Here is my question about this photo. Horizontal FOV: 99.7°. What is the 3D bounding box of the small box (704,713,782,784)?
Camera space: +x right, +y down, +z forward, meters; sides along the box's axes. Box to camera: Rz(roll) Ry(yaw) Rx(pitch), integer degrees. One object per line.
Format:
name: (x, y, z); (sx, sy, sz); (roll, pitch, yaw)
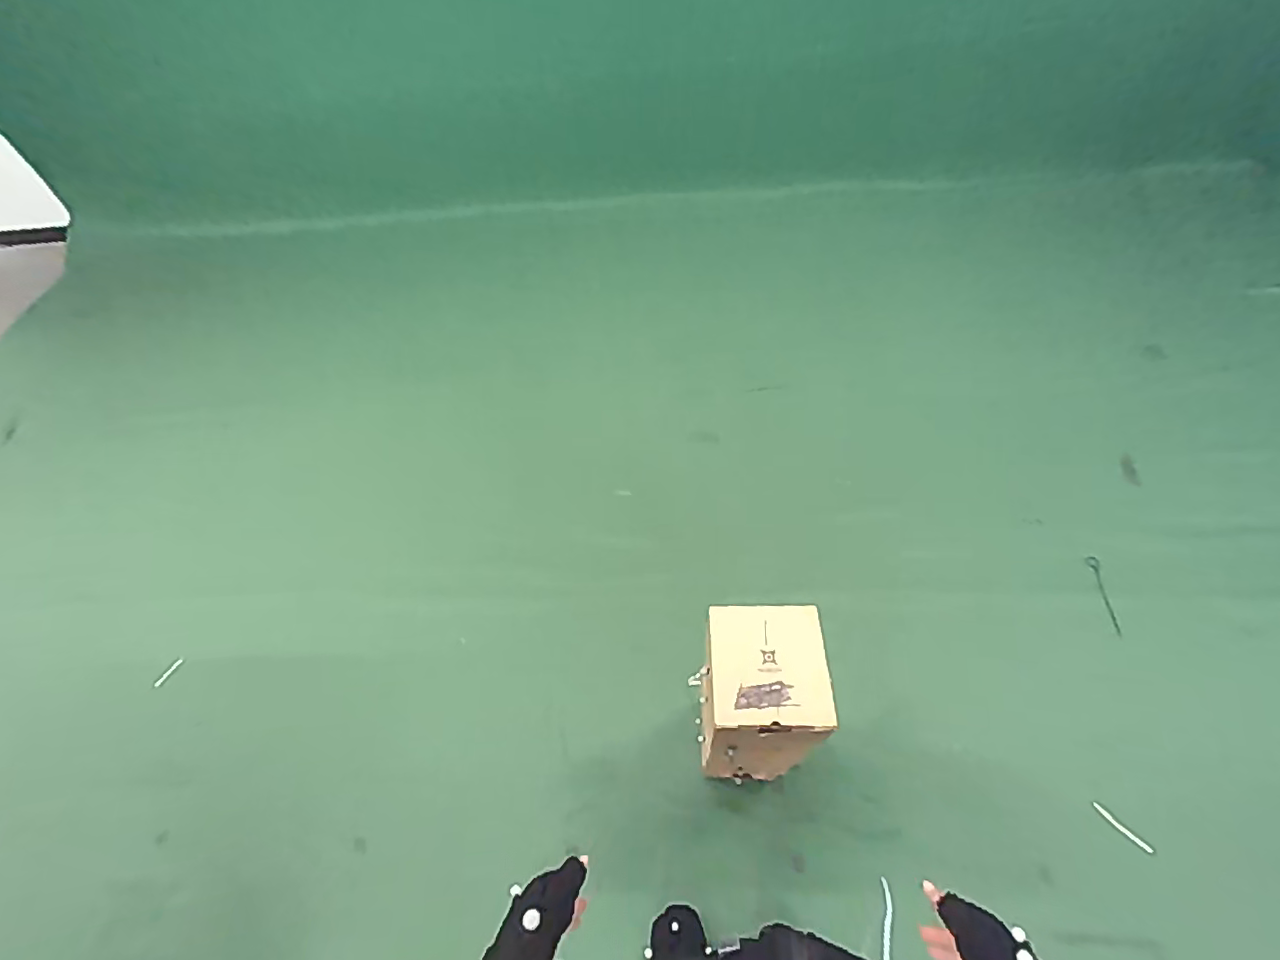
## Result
small box: (0.233, 0.590, 1.251); (0.168, 0.176, 0.179); (0, 55, 6)

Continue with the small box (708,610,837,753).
small box: (0.194, 0.317, 0.842); (0.168, 0.176, 0.179); (-1, 53, 4)

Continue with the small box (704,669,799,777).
small box: (0.220, 0.501, 1.114); (0.168, 0.176, 0.179); (-2, 55, 4)
